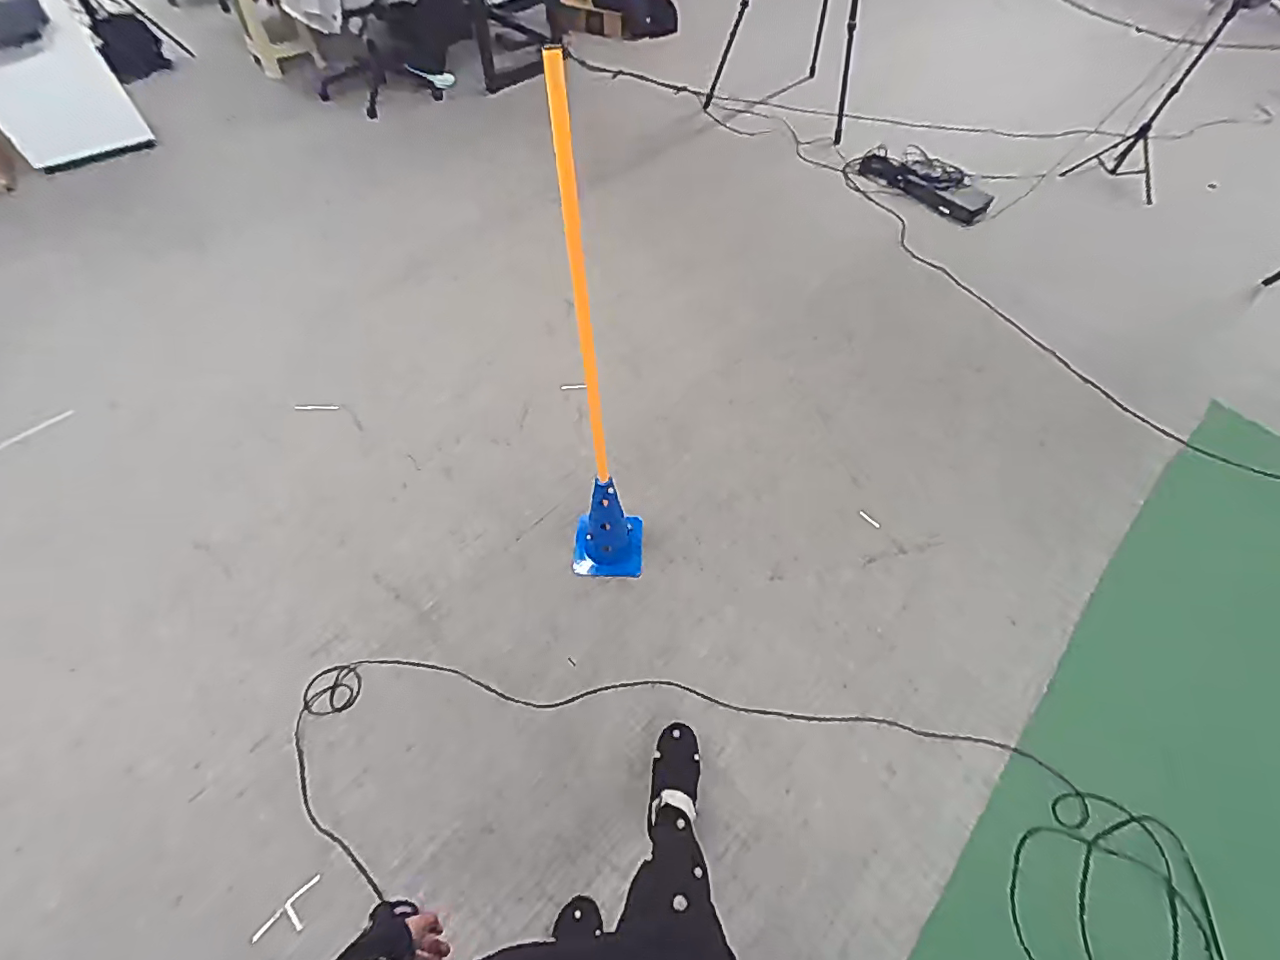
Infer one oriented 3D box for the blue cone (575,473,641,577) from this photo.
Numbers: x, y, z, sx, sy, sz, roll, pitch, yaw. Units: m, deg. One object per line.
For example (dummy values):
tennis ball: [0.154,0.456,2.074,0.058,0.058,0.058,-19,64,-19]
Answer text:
blue cone: [-0.091,0.103,1.449,0.192,0.380,0.193,0,55,-1]
